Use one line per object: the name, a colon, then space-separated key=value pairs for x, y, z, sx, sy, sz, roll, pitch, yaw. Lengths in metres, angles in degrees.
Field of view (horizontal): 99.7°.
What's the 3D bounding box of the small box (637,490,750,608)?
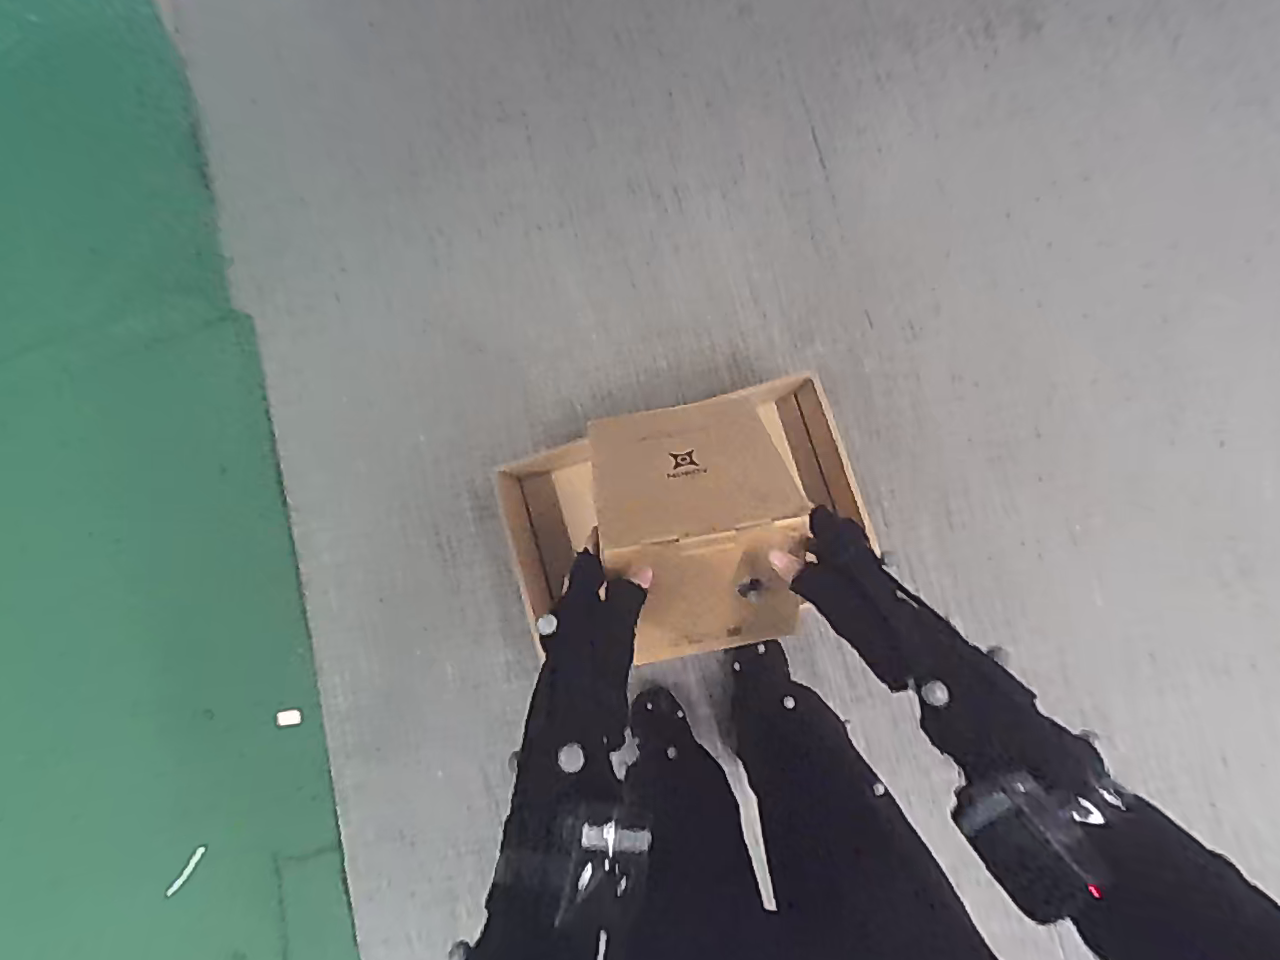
small box: x=0.100 y=0.125 z=1.010 sx=0.168 sy=0.176 sz=0.179 roll=-14 pitch=83 yaw=3
